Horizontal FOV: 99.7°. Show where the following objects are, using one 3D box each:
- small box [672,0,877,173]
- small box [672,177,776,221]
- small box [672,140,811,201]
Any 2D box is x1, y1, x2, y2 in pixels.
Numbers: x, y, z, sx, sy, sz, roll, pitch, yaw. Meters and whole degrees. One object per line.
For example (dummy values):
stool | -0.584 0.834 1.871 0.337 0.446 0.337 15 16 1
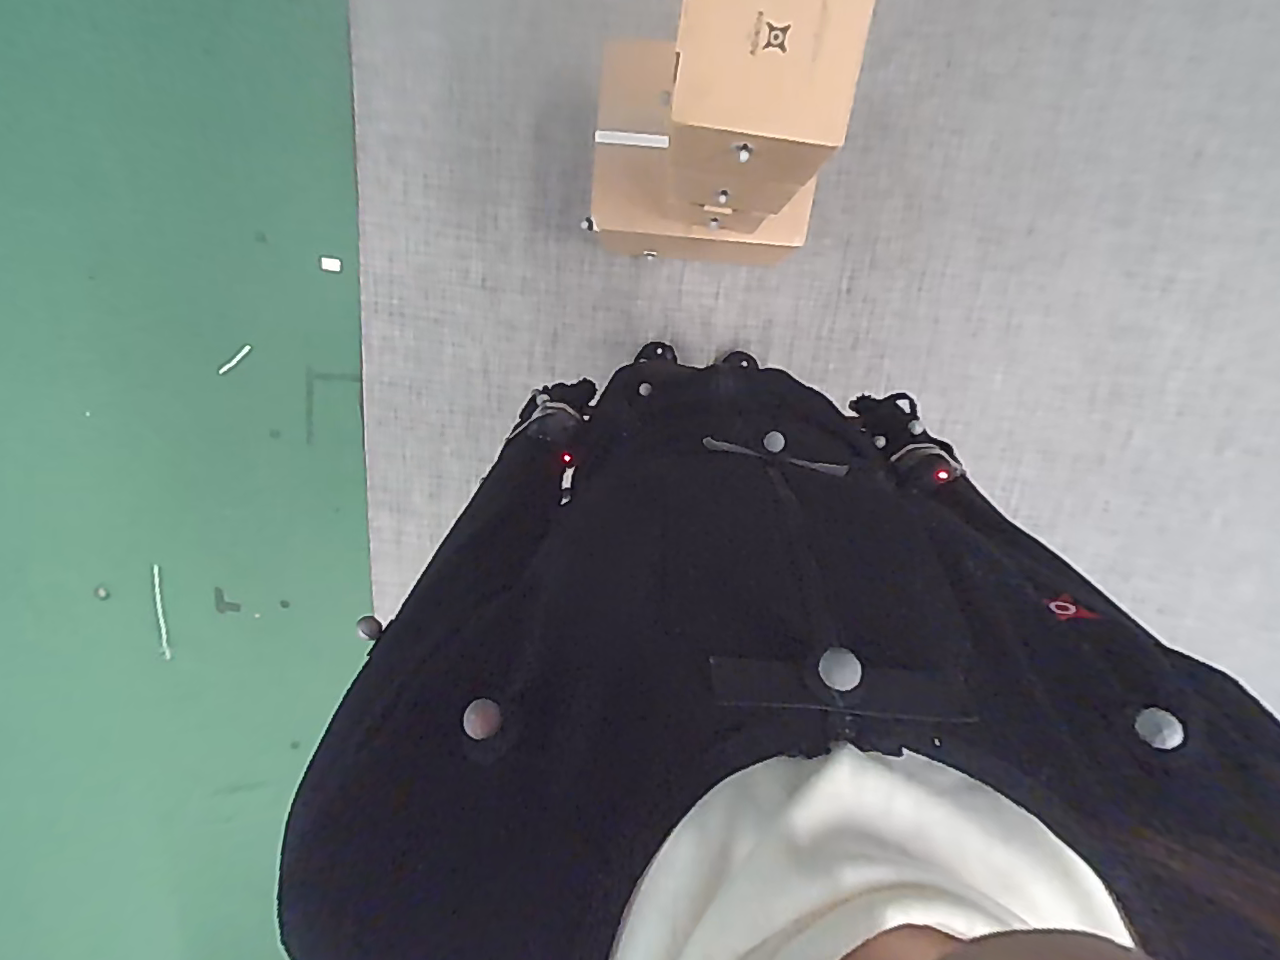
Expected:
small box | 0.133 -0.447 0.579 0.179 0.176 0.168 8 108 1
small box | 0.150 -0.541 0.891 0.168 0.176 0.179 9 107 2
small box | 0.144 -0.491 0.734 0.179 0.176 0.168 9 107 3
